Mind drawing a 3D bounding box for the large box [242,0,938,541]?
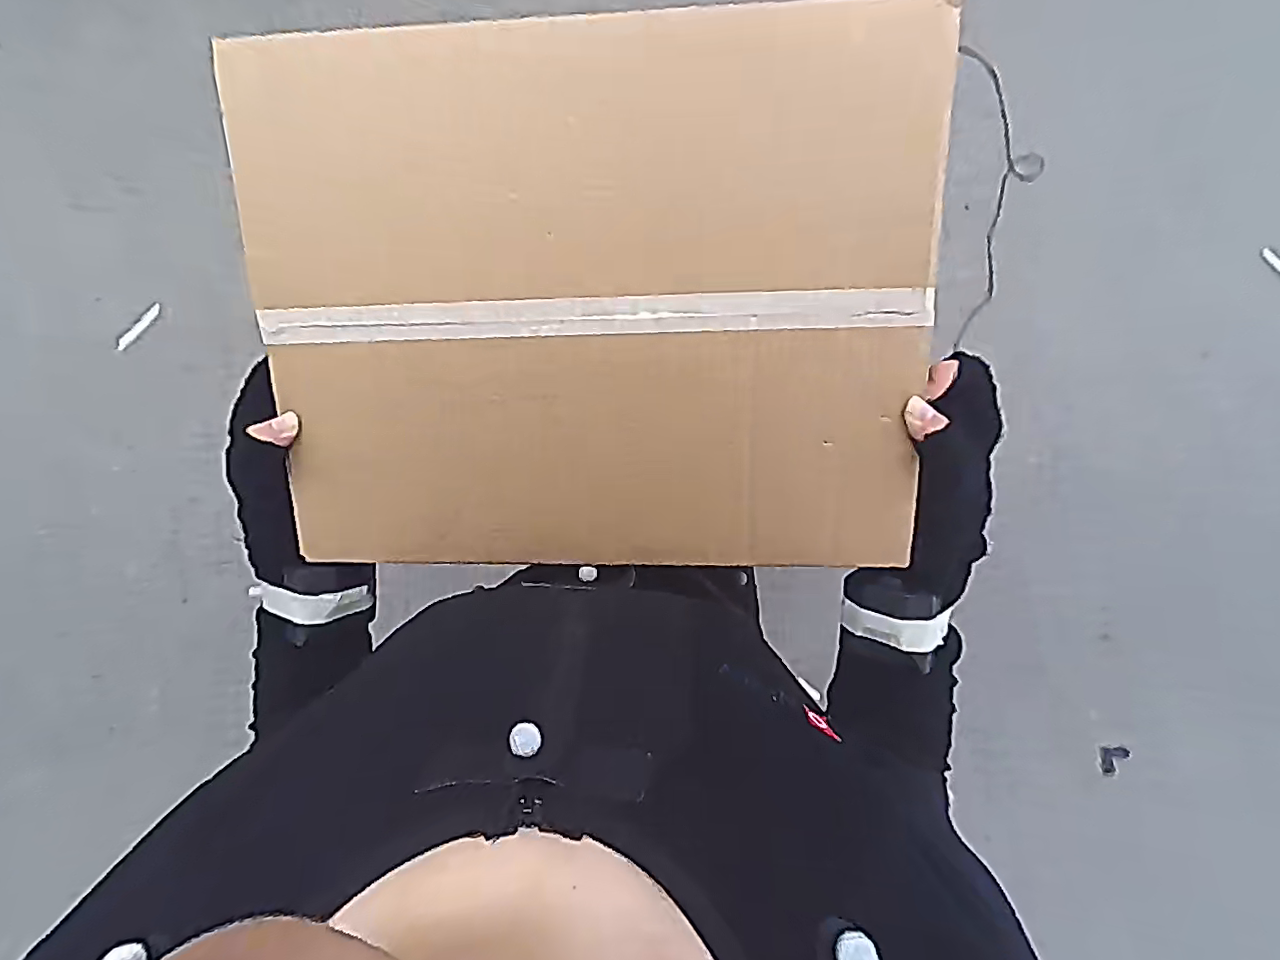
[{"bbox_3d":[-0.025,-0.143,0.479,0.408,0.320,0.320,0,104,4],"label":"large box"}]
